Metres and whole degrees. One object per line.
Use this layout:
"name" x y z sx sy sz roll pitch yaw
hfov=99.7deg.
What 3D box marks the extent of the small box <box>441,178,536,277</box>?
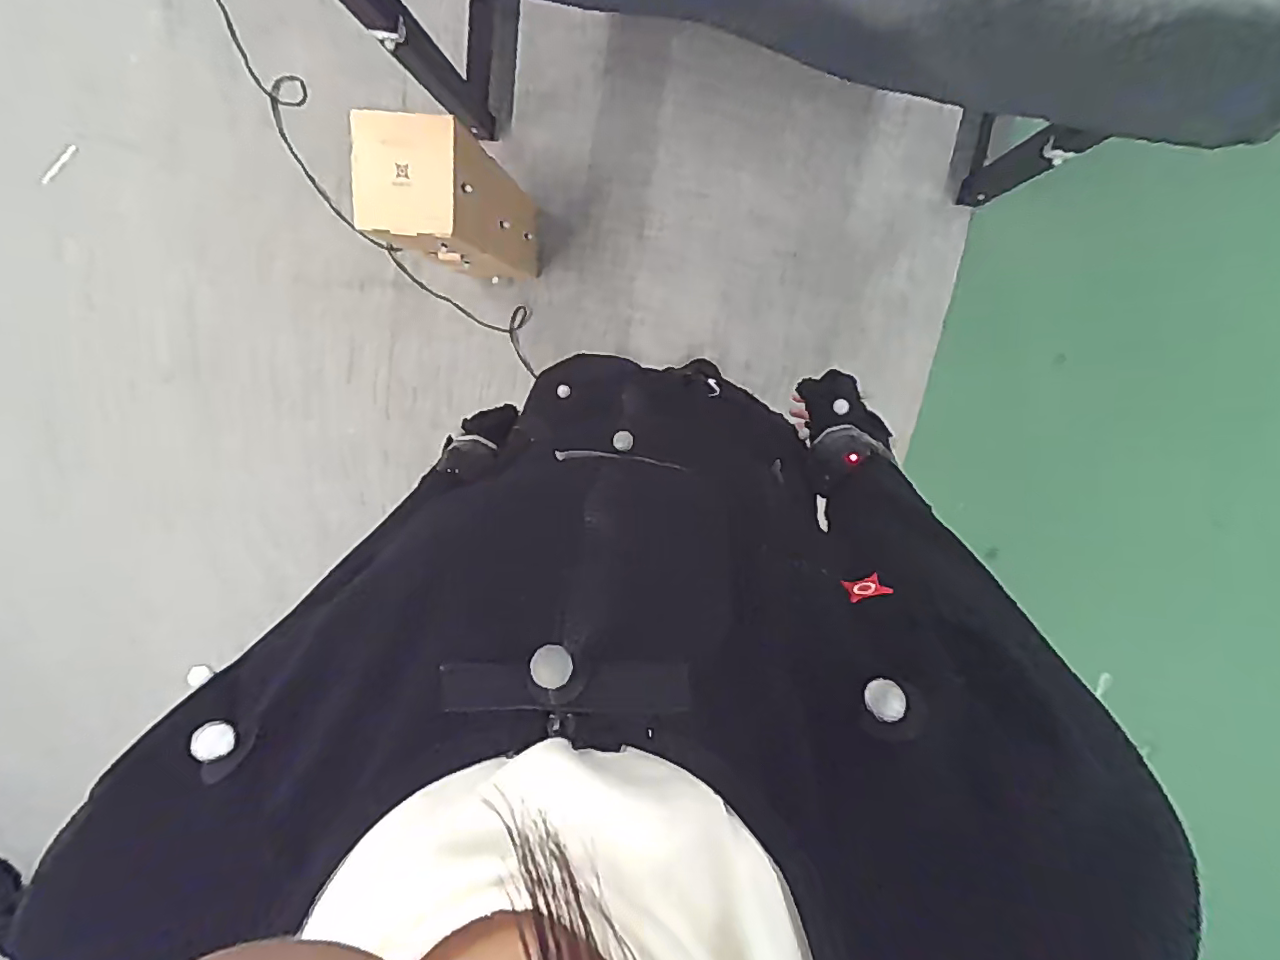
"small box" -0.341 -0.573 1.241 0.168 0.176 0.179 2 104 4
